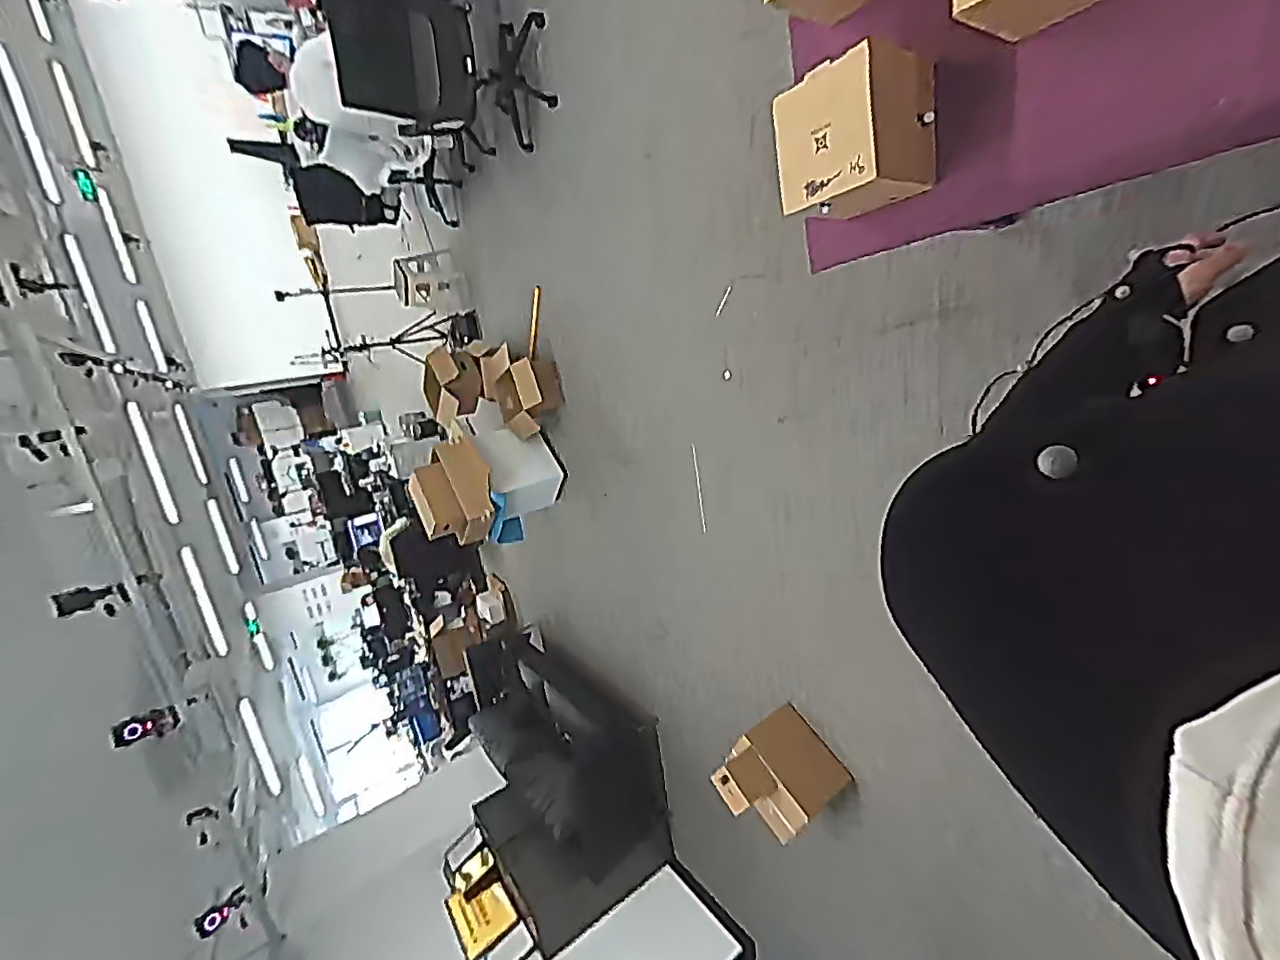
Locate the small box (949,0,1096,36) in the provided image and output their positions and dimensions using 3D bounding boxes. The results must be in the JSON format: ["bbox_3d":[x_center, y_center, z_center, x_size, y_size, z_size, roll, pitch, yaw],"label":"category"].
[{"bbox_3d":[0.464,-0.629,0.585,0.179,0.176,0.168,11,114,54],"label":"small box"}]

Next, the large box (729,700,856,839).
[{"bbox_3d":[0.685,1.310,2.471,0.408,0.320,0.320,45,140,34],"label":"large box"}]

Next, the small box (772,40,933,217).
[{"bbox_3d":[0.330,-0.524,0.838,0.168,0.176,0.179,8,110,55],"label":"small box"}]

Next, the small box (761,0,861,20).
[{"bbox_3d":[0.285,-0.803,0.768,0.179,0.176,0.168,10,114,53],"label":"small box"}]
